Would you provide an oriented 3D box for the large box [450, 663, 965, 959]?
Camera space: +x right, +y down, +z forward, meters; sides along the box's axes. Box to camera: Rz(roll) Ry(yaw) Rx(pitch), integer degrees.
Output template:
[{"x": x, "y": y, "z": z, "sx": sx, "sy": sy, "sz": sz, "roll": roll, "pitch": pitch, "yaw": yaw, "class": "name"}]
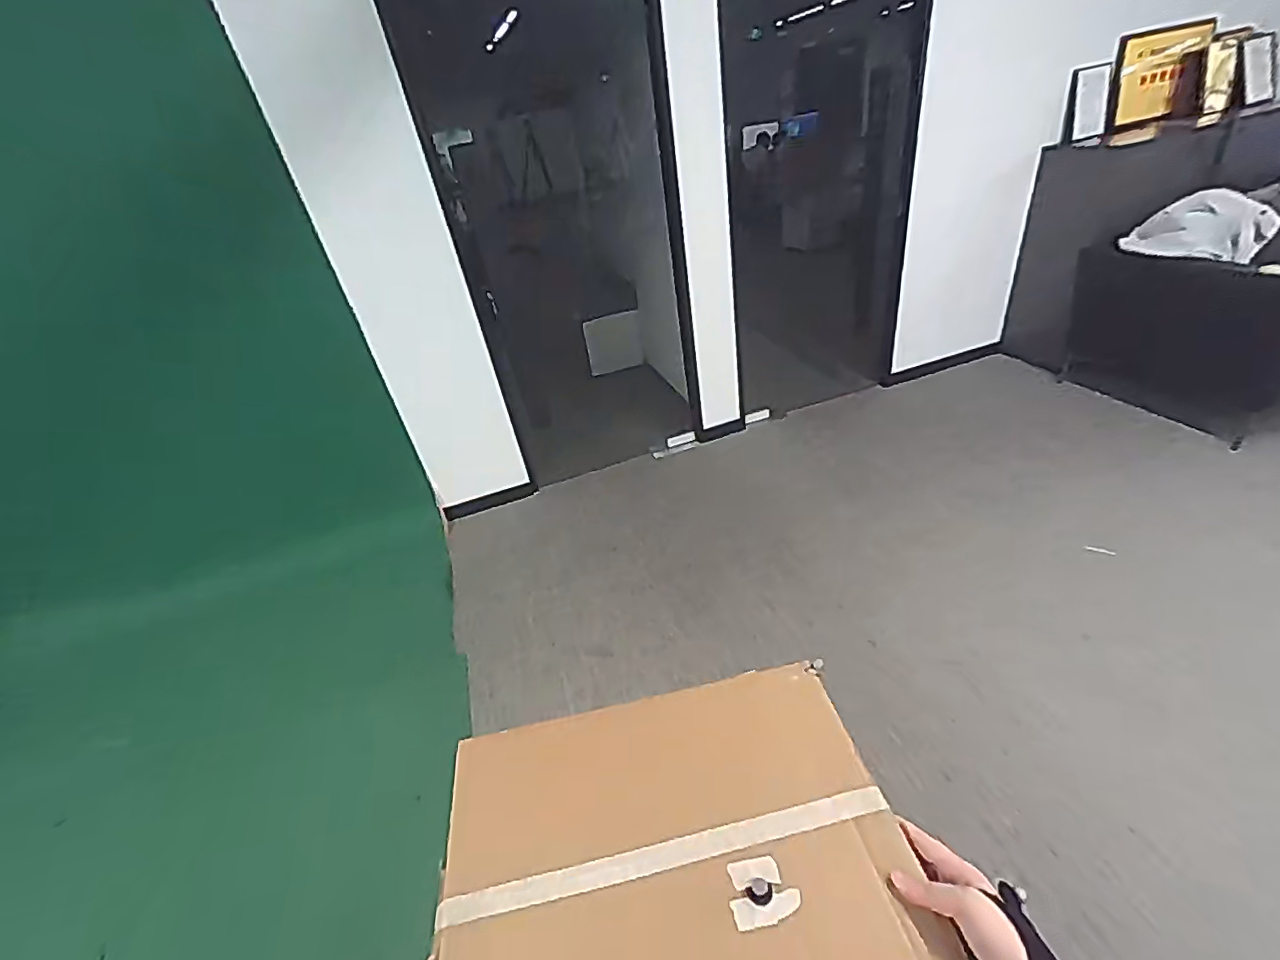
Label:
[{"x": 0.041, "y": 0.456, "z": 0.578, "sx": 0.408, "sy": 0.320, "sz": 0.320, "roll": -10, "pitch": 36, "yaw": -6, "class": "large box"}]
